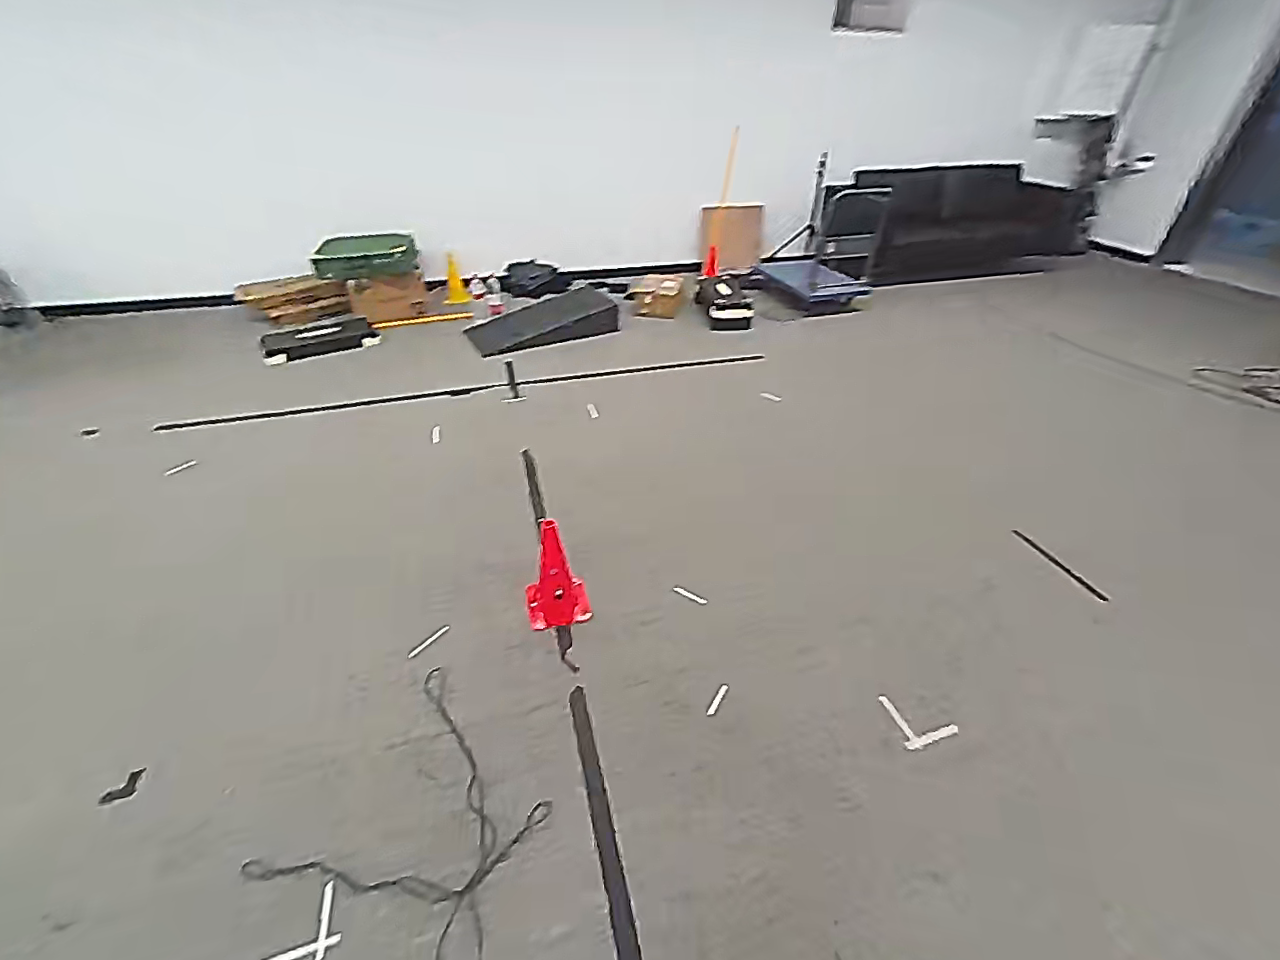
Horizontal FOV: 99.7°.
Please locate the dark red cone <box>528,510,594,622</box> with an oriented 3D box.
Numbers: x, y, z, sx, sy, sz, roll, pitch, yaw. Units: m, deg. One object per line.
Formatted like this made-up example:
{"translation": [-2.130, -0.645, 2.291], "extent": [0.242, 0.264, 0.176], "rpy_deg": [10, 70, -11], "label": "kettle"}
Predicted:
{"translation": [-0.265, 0.252, 1.708], "extent": [0.201, 0.394, 0.202], "rpy_deg": [-10, 38, -13], "label": "dark red cone"}
